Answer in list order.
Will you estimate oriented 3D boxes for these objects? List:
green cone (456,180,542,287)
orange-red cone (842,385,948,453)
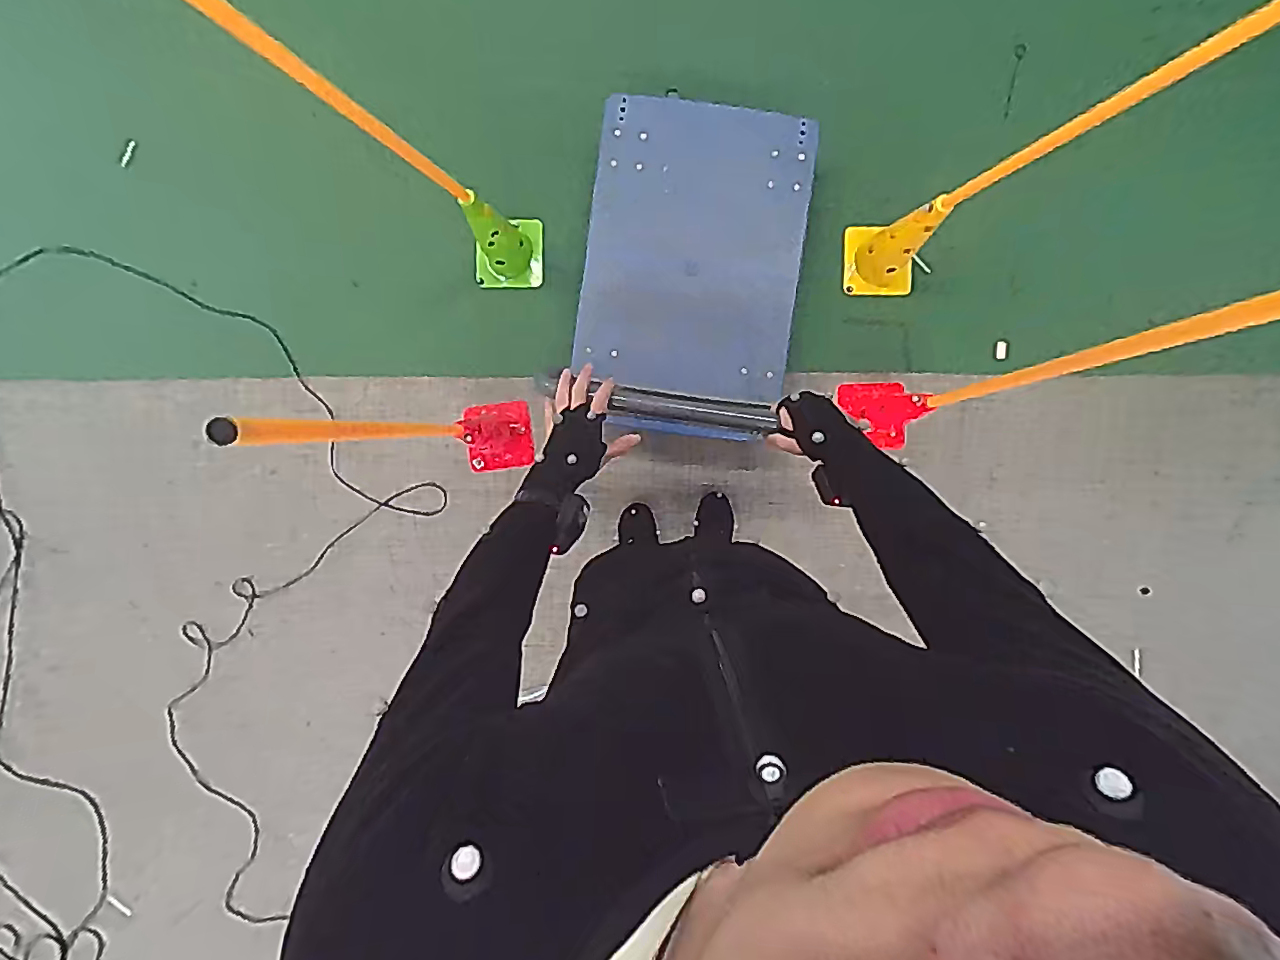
[{"bbox_3d":[-0.395,-0.670,1.423,0.200,0.368,0.202,0,91,2],"label":"green cone"},{"bbox_3d":[0.690,-0.180,1.415,0.198,0.360,0.199,0,90,1],"label":"orange-red cone"}]
